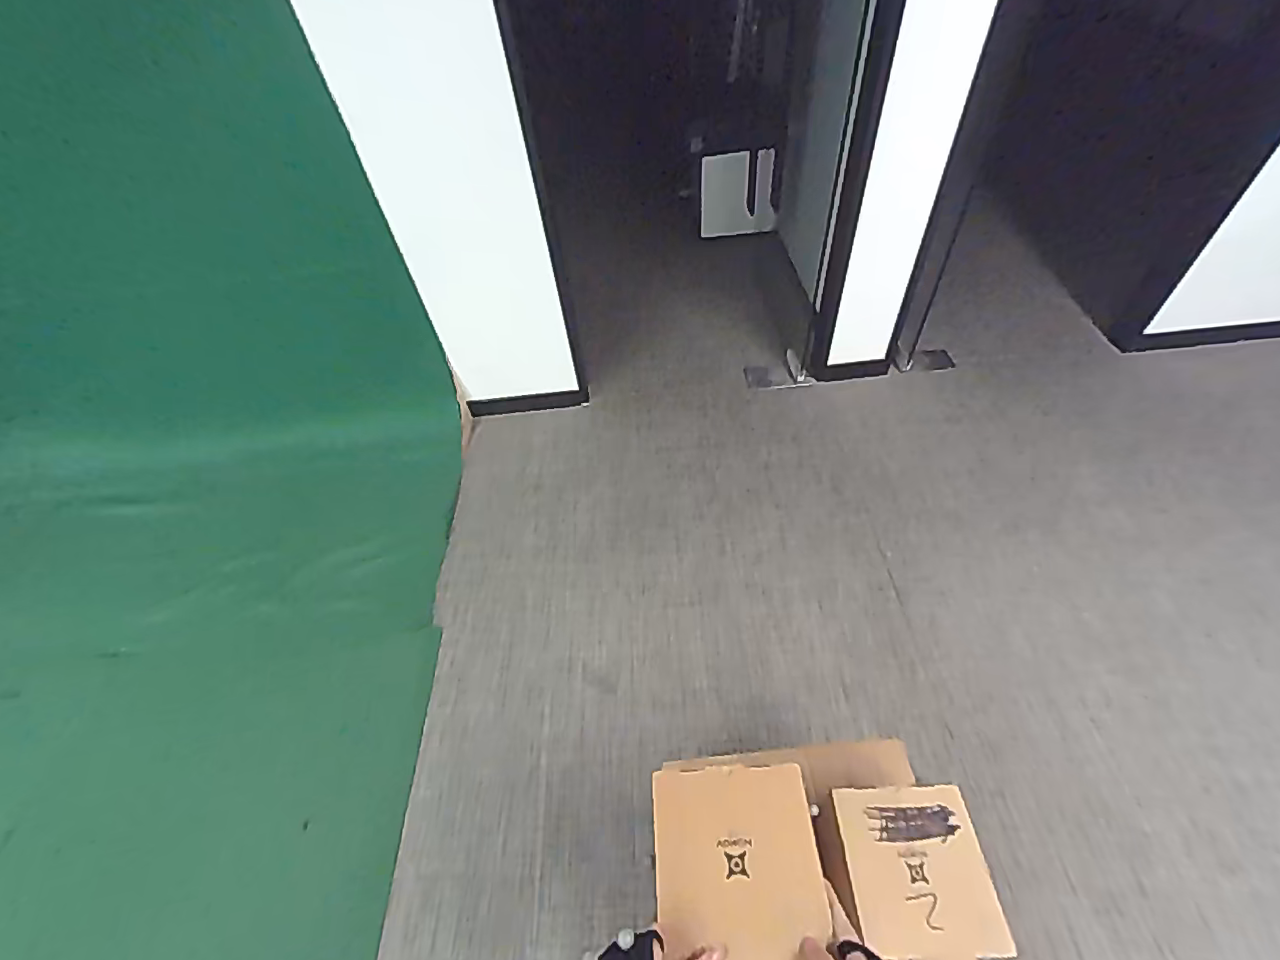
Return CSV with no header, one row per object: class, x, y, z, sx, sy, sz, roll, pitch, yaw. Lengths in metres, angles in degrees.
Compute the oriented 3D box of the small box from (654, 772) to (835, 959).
small box,0.108,0.452,0.605,0.168,0.176,0.179,-6,43,4
